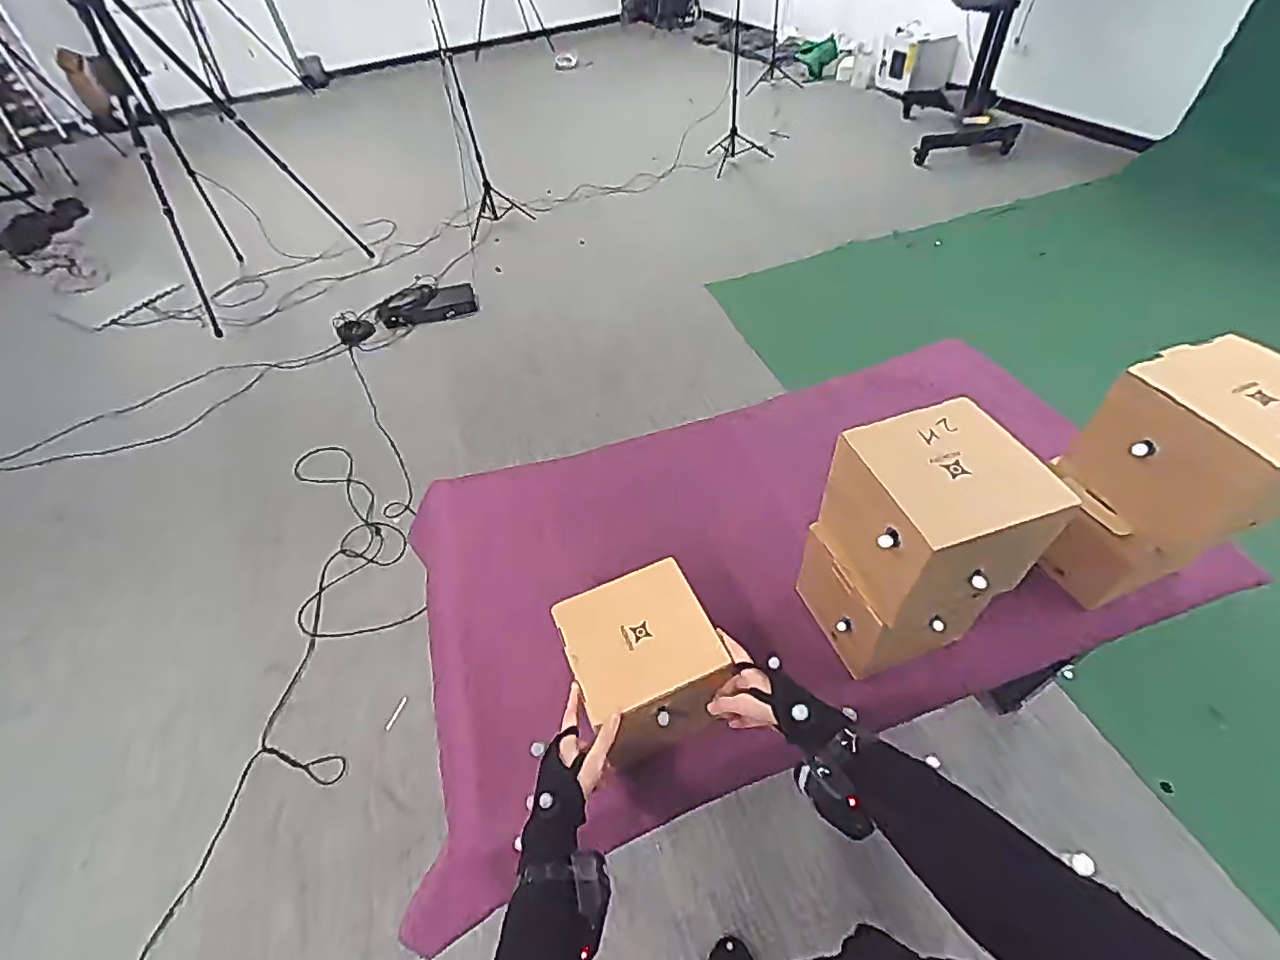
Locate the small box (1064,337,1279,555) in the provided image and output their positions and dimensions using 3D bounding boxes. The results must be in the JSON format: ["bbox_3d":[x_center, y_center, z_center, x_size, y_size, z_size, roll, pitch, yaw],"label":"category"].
[{"bbox_3d":[0.679,-0.041,0.655,0.168,0.176,0.179,-18,49,-7],"label":"small box"}]

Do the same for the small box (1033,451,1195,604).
[{"bbox_3d":[0.692,0.054,0.790,0.179,0.176,0.168,-19,50,-9],"label":"small box"}]

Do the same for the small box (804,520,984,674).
[{"bbox_3d":[0.346,0.146,0.759,0.179,0.176,0.168,-18,48,-8],"label":"small box"}]

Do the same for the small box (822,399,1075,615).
[{"bbox_3d":[0.336,0.039,0.635,0.168,0.176,0.179,-15,48,-6],"label":"small box"}]
